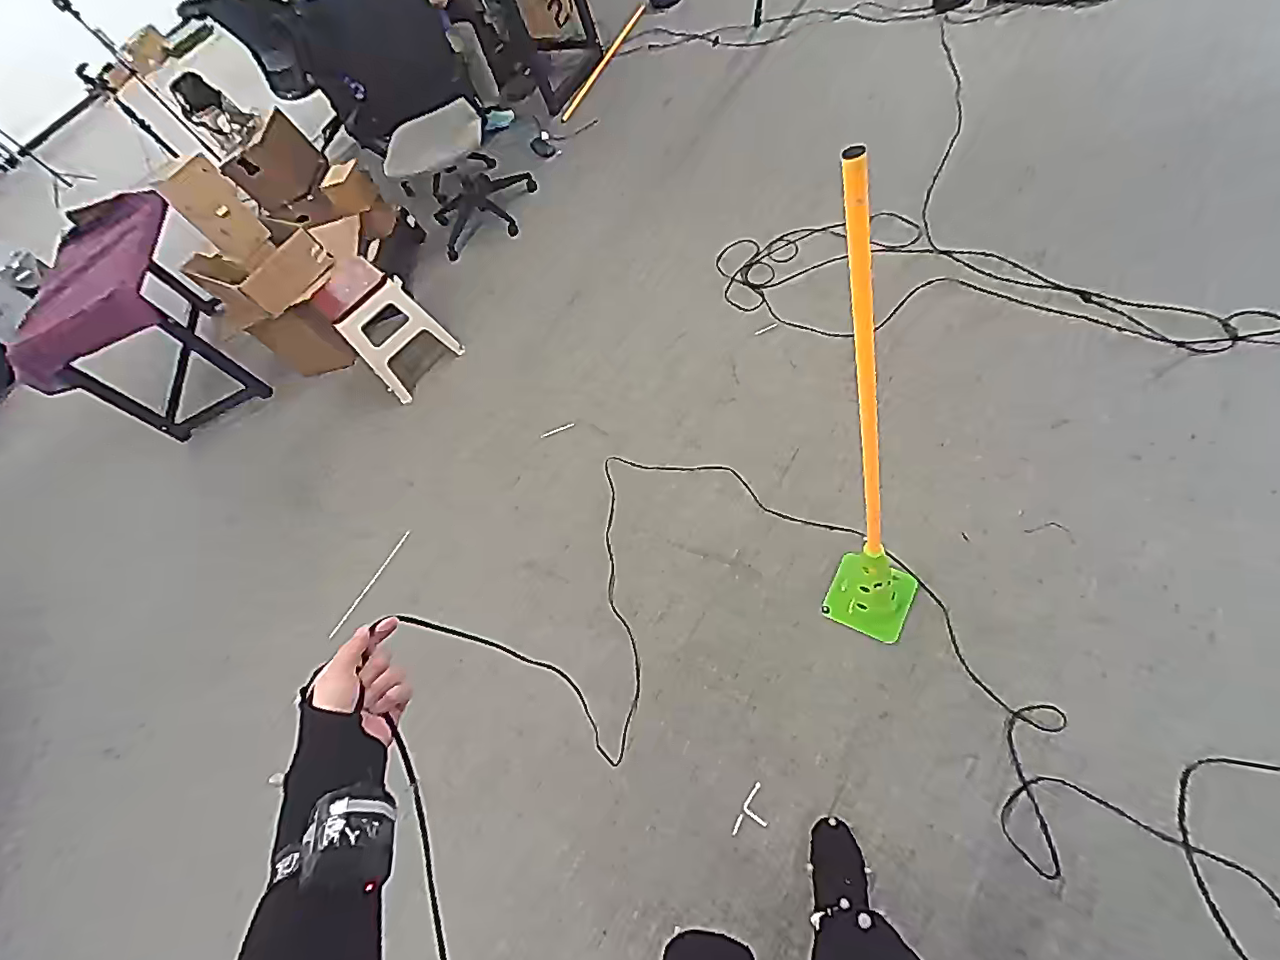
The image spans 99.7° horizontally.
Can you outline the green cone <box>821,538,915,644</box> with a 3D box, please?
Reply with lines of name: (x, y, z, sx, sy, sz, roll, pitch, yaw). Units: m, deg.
green cone: (0.564, 0.236, 1.322, 0.200, 0.368, 0.202, 19, 69, 29)
